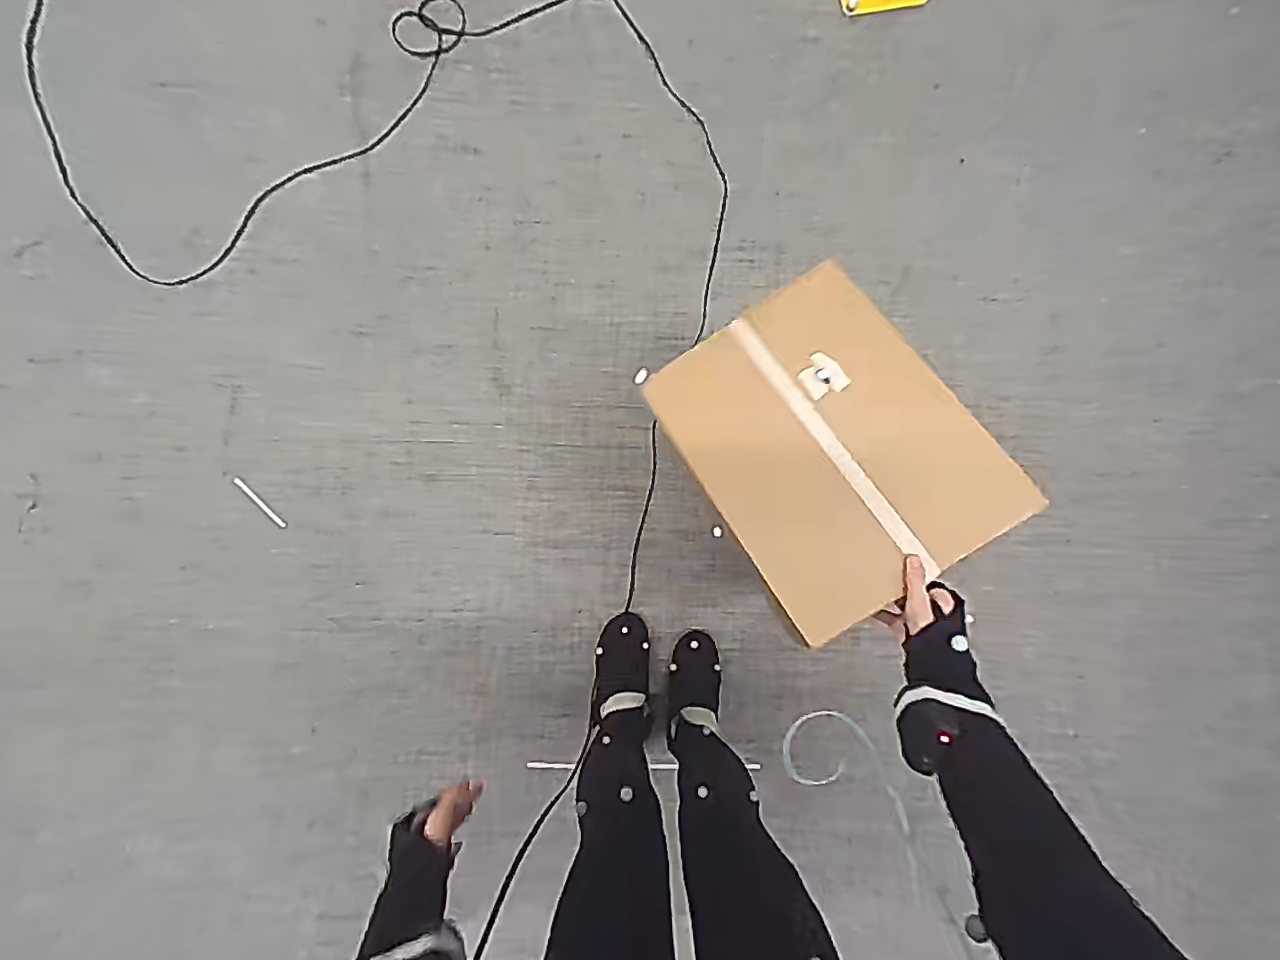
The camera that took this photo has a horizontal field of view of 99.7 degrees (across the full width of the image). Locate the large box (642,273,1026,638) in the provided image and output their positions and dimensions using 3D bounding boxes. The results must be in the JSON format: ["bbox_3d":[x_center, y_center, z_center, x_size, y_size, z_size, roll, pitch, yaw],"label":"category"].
[{"bbox_3d":[0.256,-0.013,0.831,0.320,0.320,0.408,-30,71,2],"label":"large box"}]
